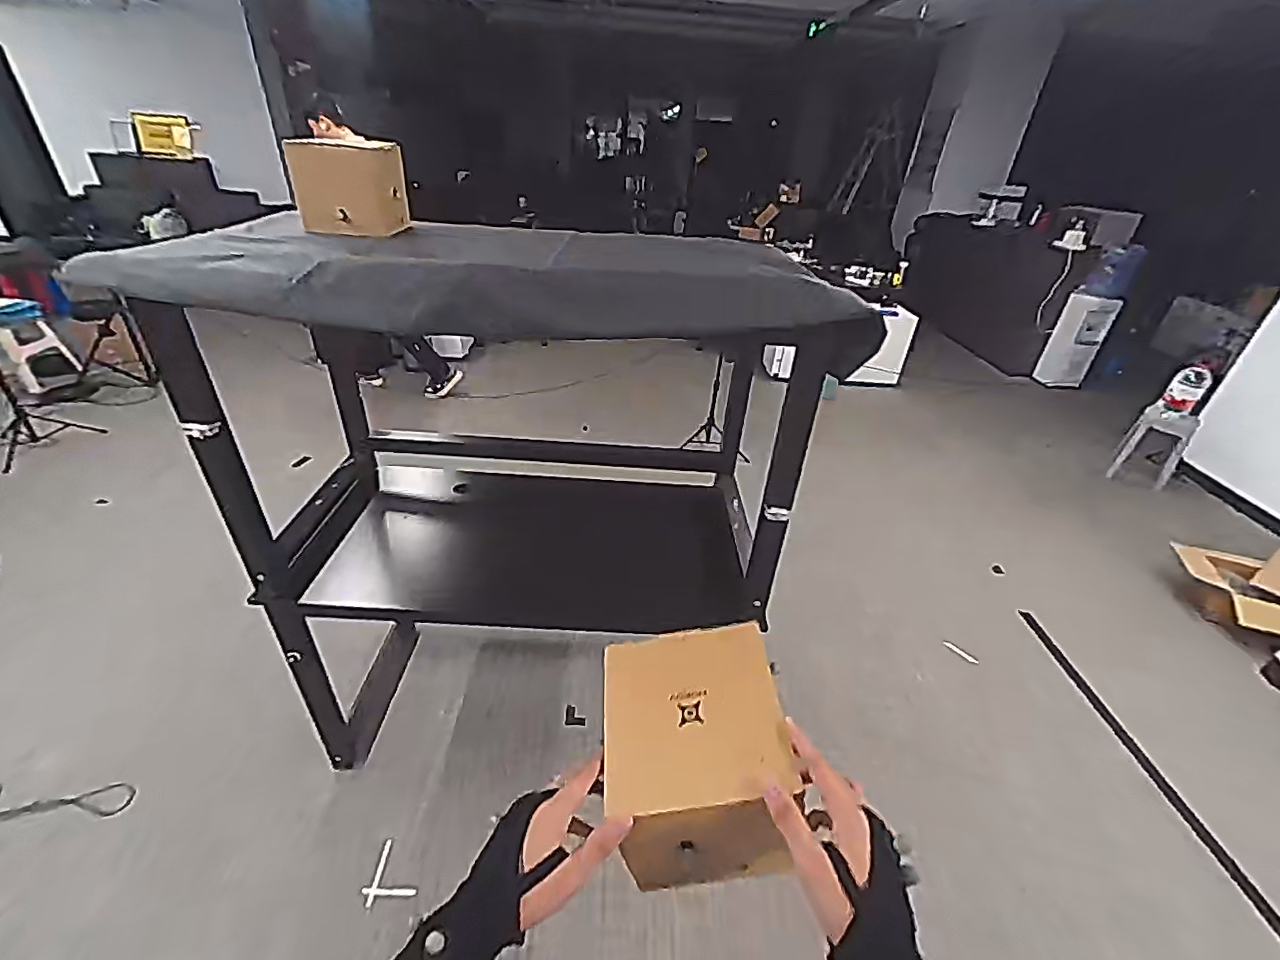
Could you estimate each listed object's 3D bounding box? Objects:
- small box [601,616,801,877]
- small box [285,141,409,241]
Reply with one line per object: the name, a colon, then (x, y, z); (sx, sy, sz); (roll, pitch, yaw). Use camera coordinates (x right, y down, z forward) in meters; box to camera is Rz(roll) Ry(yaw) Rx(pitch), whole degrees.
small box: (0.059, 0.270, 0.545); (0.168, 0.176, 0.179); (-10, 35, 3)
small box: (-0.618, -0.624, 1.171); (0.179, 0.176, 0.168); (3, 33, -4)
